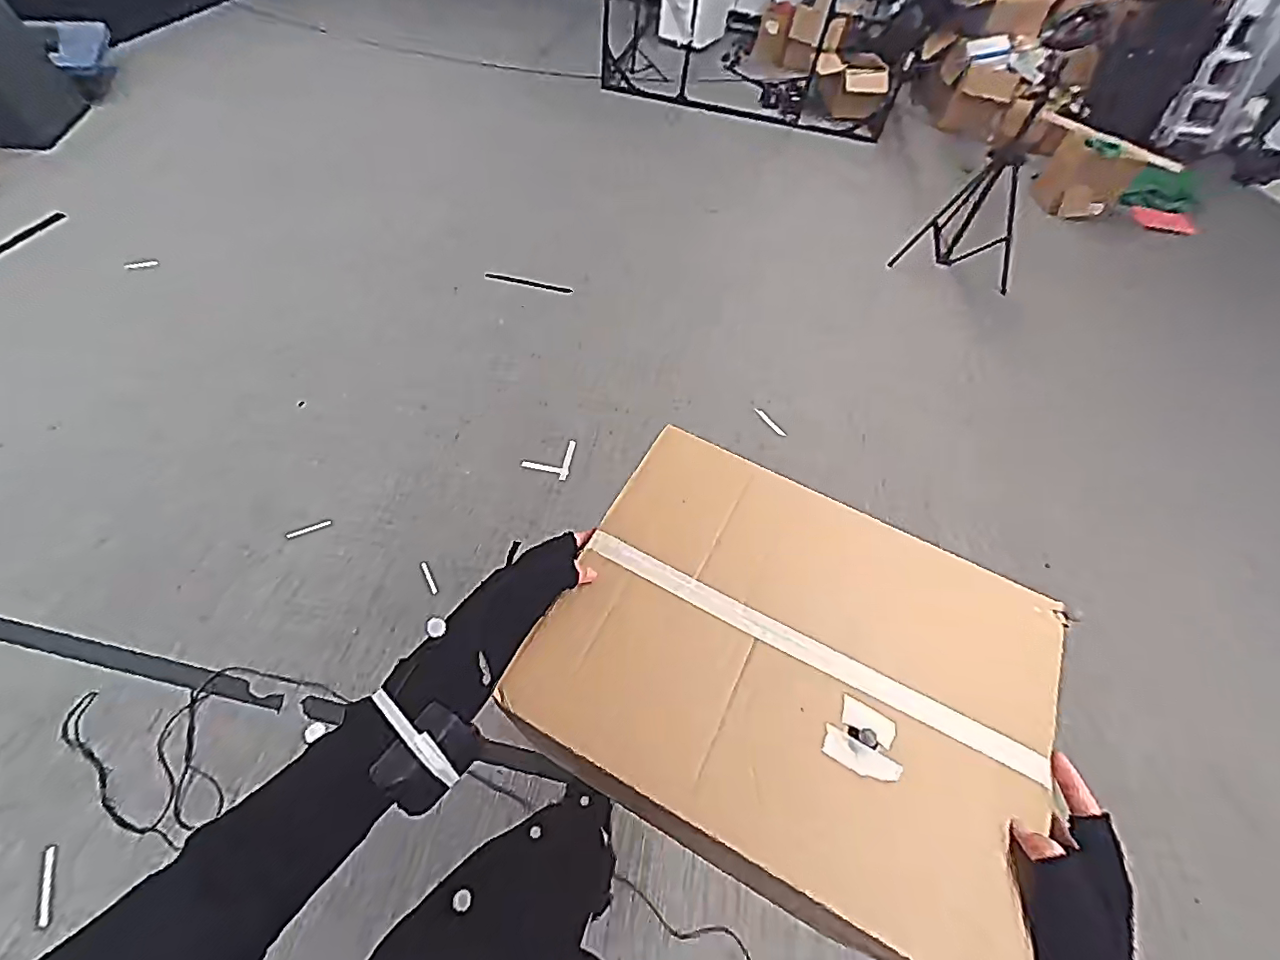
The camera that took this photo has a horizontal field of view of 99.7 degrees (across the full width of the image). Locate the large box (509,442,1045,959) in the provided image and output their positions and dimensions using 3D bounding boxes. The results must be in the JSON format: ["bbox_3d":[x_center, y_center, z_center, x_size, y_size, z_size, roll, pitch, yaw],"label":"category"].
[{"bbox_3d":[0.124,0.229,0.594,0.408,0.320,0.320,27,60,12],"label":"large box"}]
